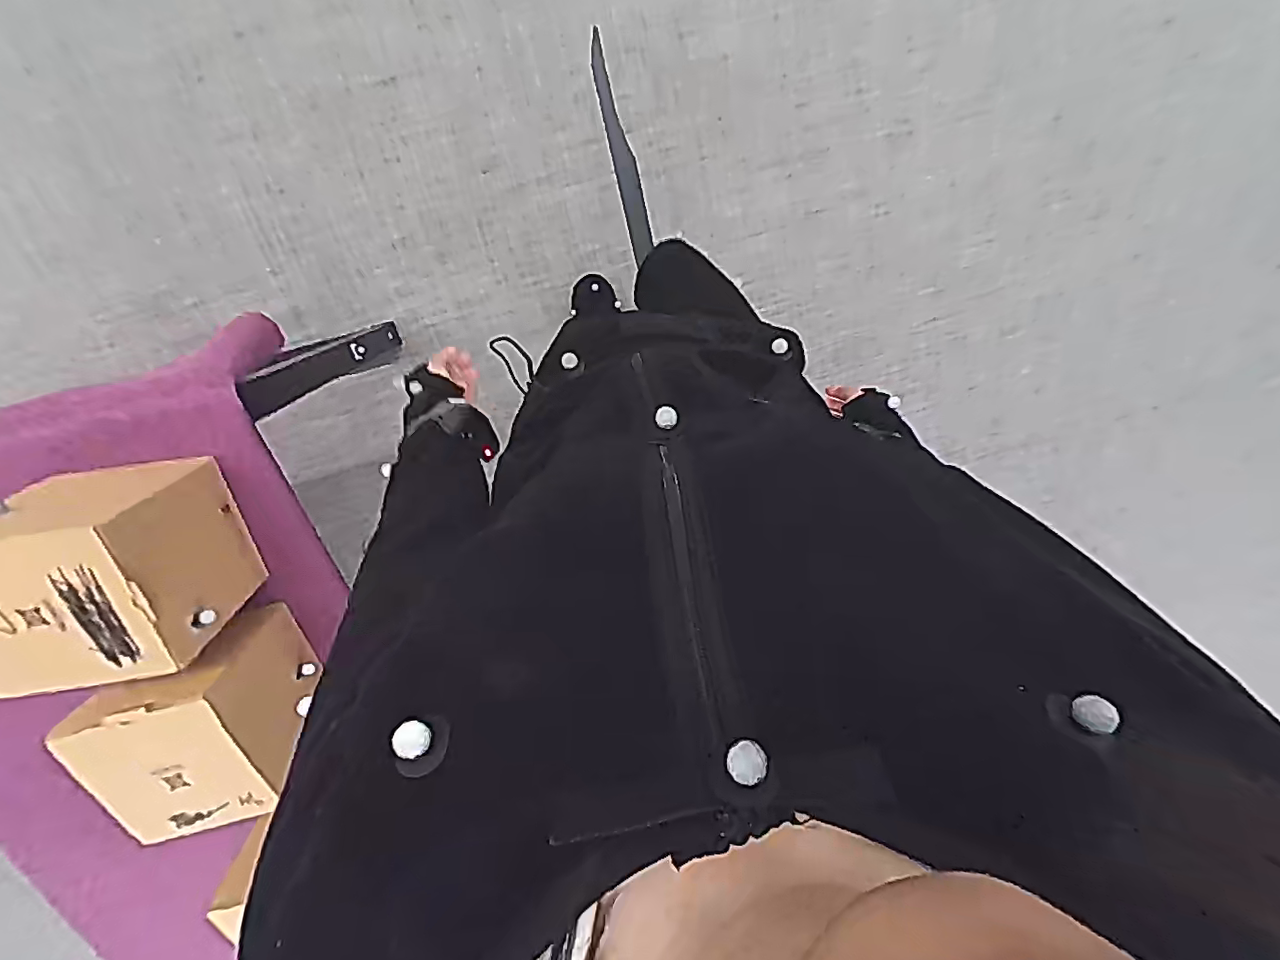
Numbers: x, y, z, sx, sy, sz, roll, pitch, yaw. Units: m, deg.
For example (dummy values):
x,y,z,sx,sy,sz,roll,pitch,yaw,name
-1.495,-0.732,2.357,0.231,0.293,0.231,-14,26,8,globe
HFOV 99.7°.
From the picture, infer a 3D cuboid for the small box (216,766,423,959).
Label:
x,y,z,sx,sy,sz,roll,pitch,yaw,name
-0.431,0.546,0.772,0.179,0.176,0.168,-17,114,1,small box
